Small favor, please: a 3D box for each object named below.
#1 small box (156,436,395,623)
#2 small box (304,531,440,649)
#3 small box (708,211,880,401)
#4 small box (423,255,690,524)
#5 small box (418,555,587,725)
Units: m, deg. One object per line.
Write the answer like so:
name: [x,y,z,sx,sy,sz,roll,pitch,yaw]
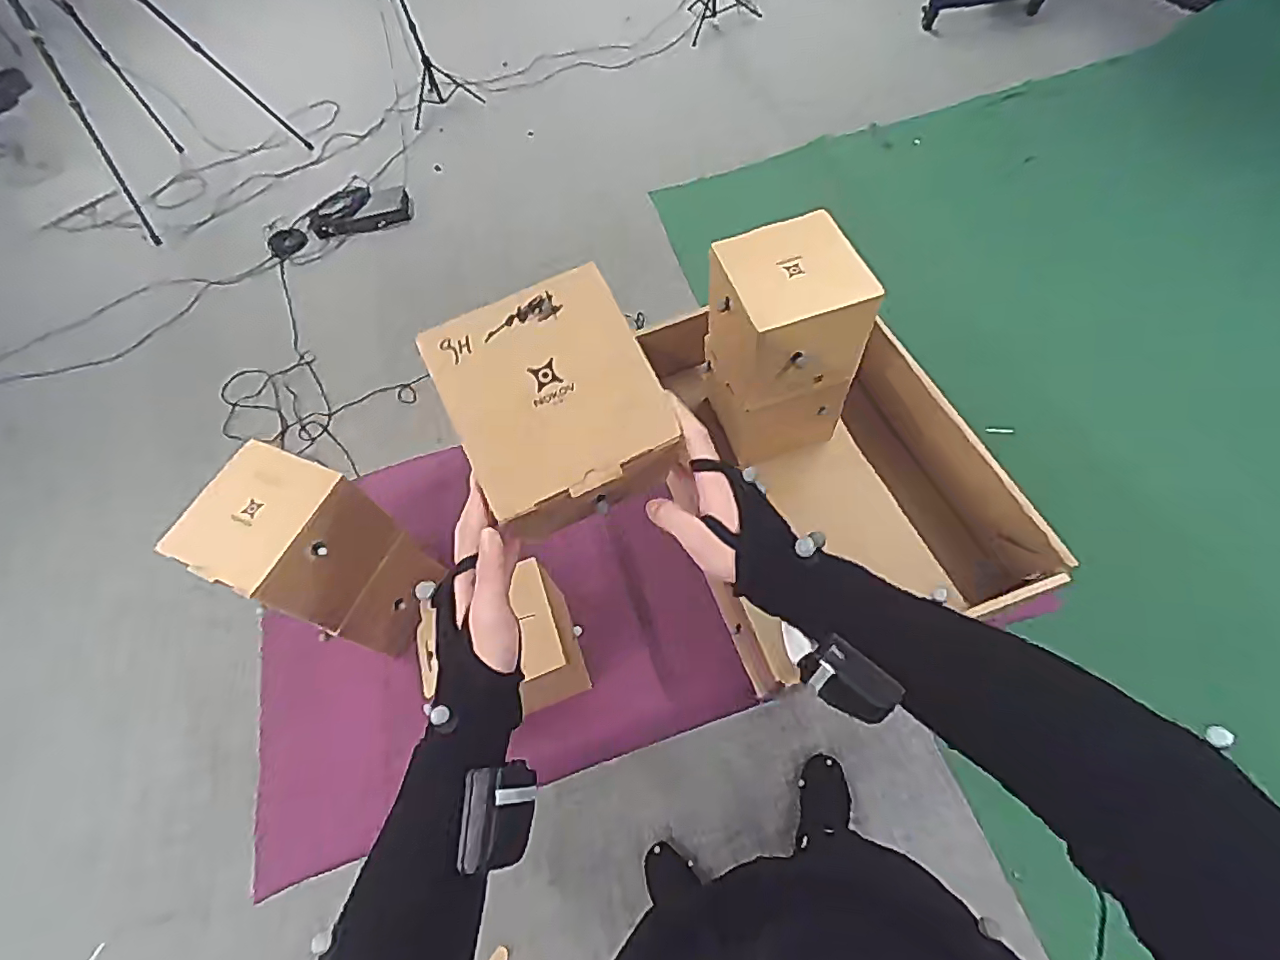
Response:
small box: [-0.474,0.074,0.737,0.168,0.176,0.179,19,65,15]
small box: [-0.460,0.158,0.875,0.179,0.176,0.168,19,64,16]
small box: [0.202,-0.232,0.760,0.168,0.176,0.179,-17,61,-2]
small box: [-0.071,-0.067,0.513,0.168,0.176,0.179,-25,82,-8]
small box: [-0.195,0.241,0.793,0.179,0.176,0.168,-21,59,-5]
